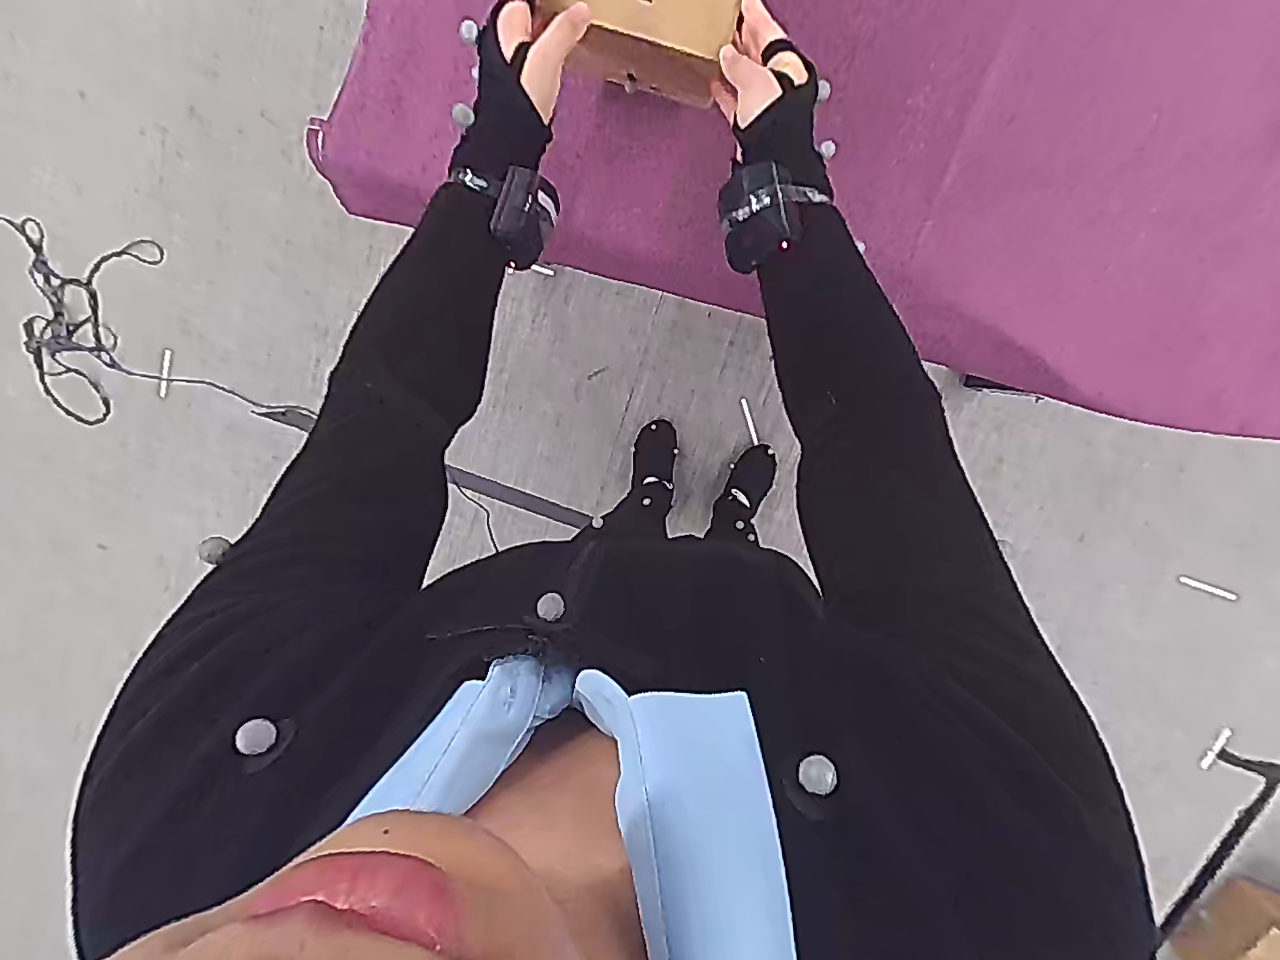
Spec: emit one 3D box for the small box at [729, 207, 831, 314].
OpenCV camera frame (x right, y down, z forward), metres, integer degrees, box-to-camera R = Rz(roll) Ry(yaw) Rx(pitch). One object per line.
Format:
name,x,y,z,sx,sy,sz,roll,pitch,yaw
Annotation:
small box,0.315,-0.499,1.257,0.168,0.176,0.179,19,103,-1
